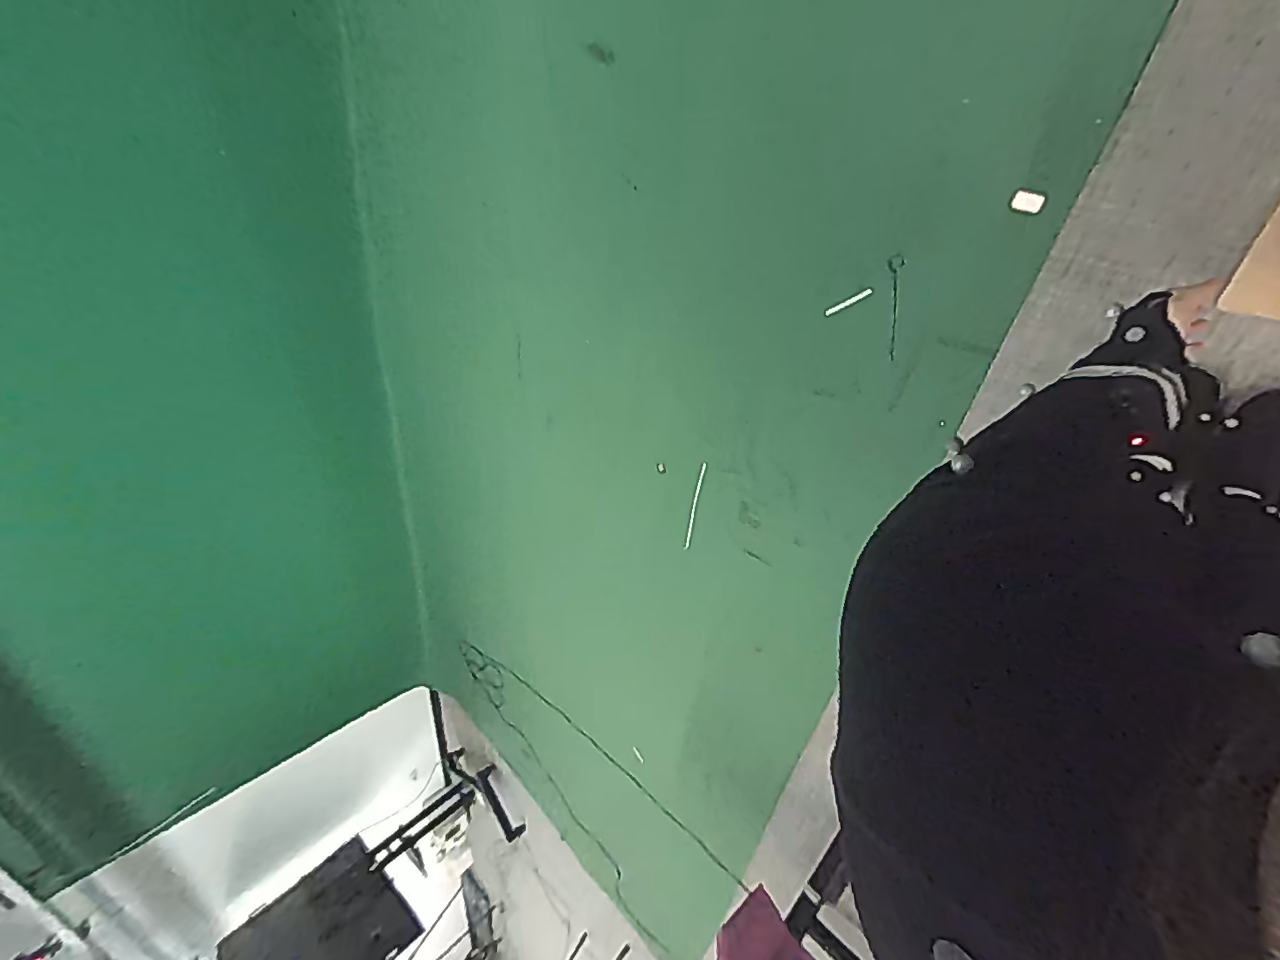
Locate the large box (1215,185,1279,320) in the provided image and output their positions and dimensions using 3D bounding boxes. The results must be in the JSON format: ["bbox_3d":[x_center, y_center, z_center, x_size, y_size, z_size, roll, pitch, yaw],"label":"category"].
[{"bbox_3d":[0.965,-0.372,0.604,0.320,0.320,0.408,31,128,34],"label":"large box"}]
